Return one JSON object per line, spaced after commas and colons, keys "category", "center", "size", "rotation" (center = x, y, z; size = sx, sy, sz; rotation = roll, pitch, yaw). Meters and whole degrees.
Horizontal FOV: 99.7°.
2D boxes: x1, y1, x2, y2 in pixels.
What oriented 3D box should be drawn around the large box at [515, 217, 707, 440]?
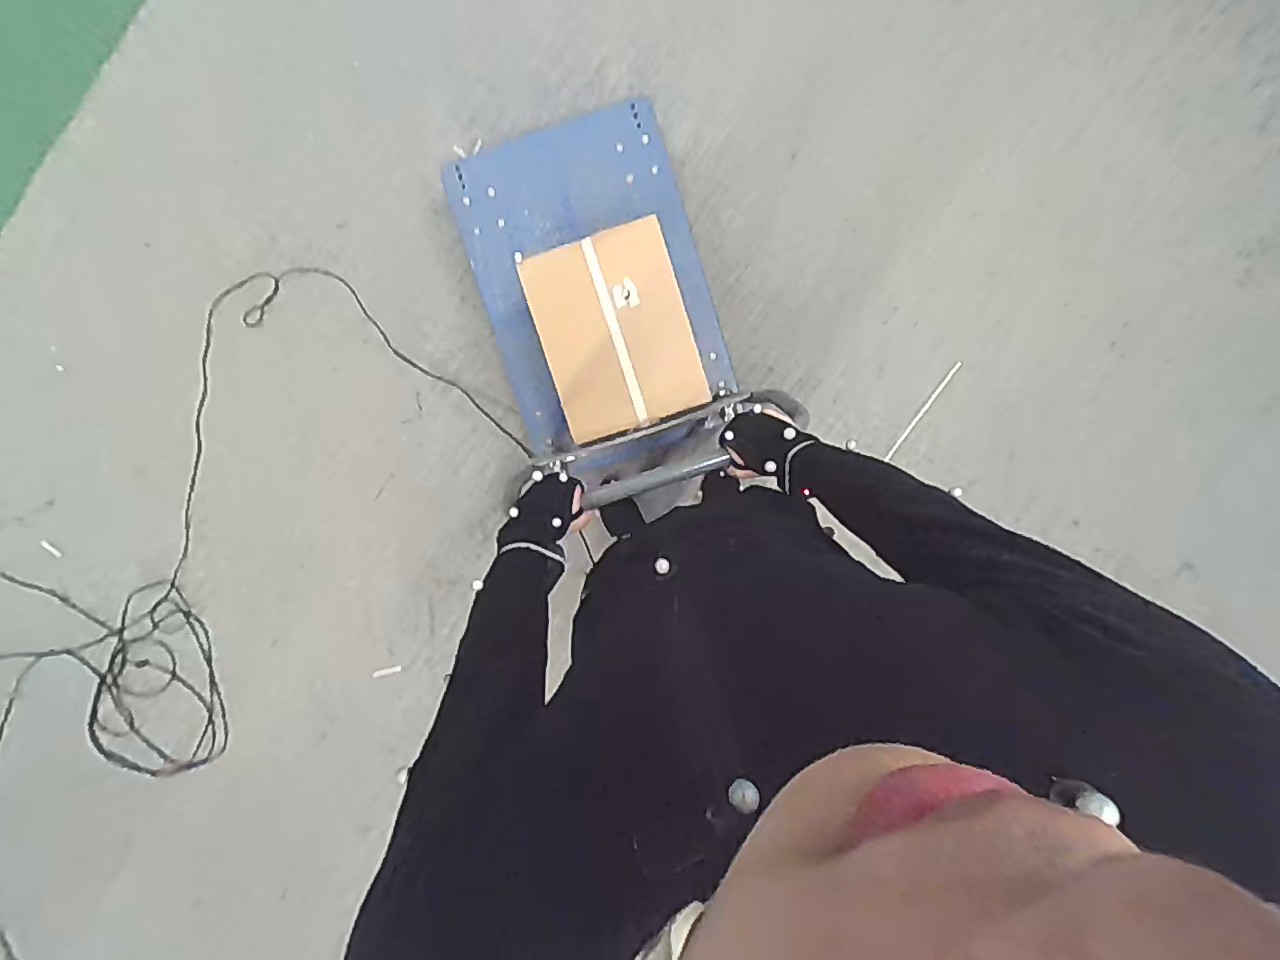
{"category": "large box", "center": [-0.057, -0.332, 1.306], "size": [0.320, 0.320, 0.408], "rotation": [-18, 94, 2]}
